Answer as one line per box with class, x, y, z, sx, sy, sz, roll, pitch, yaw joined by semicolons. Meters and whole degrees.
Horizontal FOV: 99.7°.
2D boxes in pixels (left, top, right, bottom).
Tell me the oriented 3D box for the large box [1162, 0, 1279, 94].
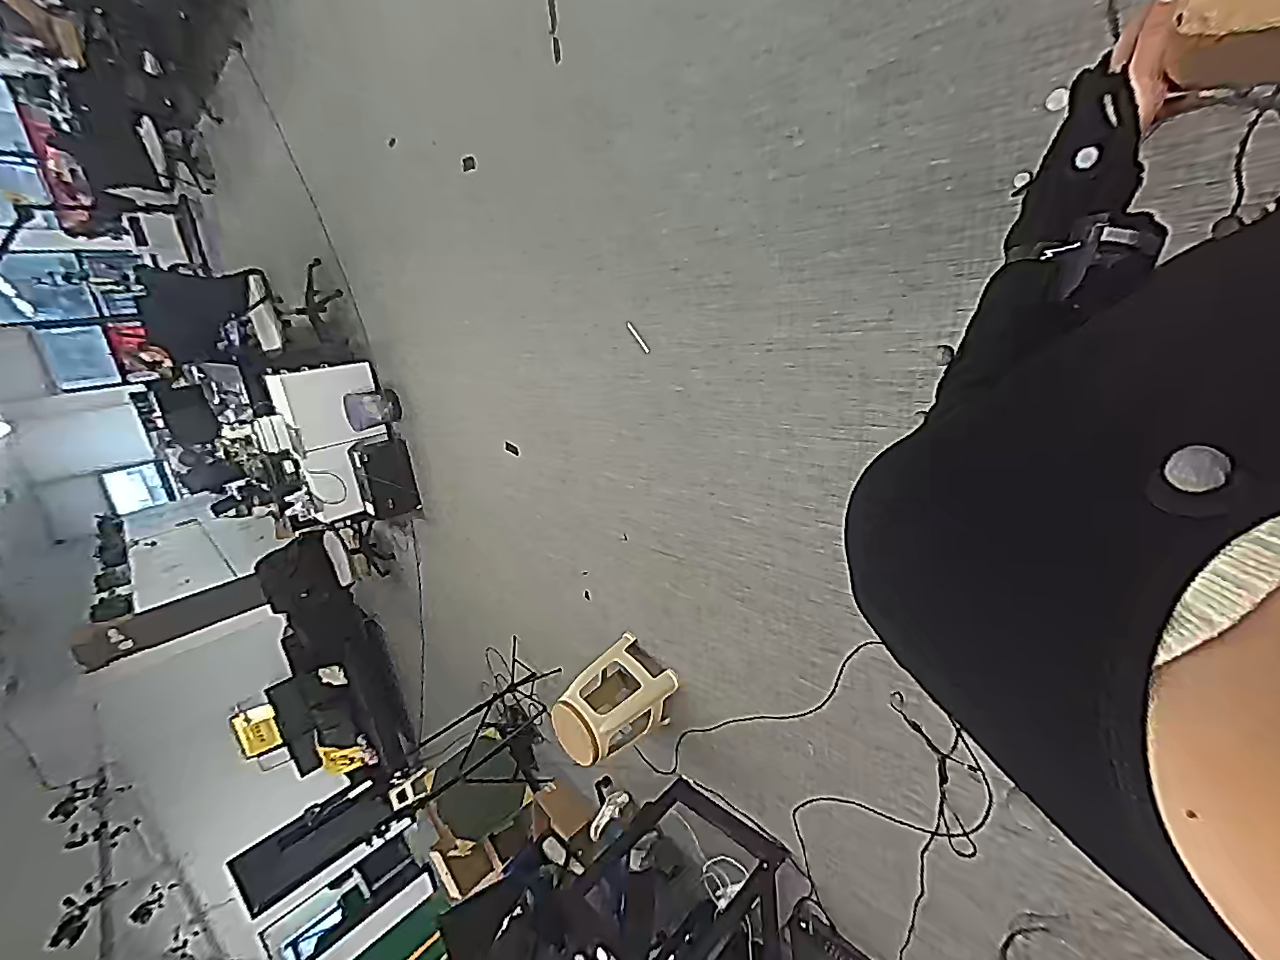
large box;0.443;-0.312;0.123;0.408;0.320;0.320;19;127;34
